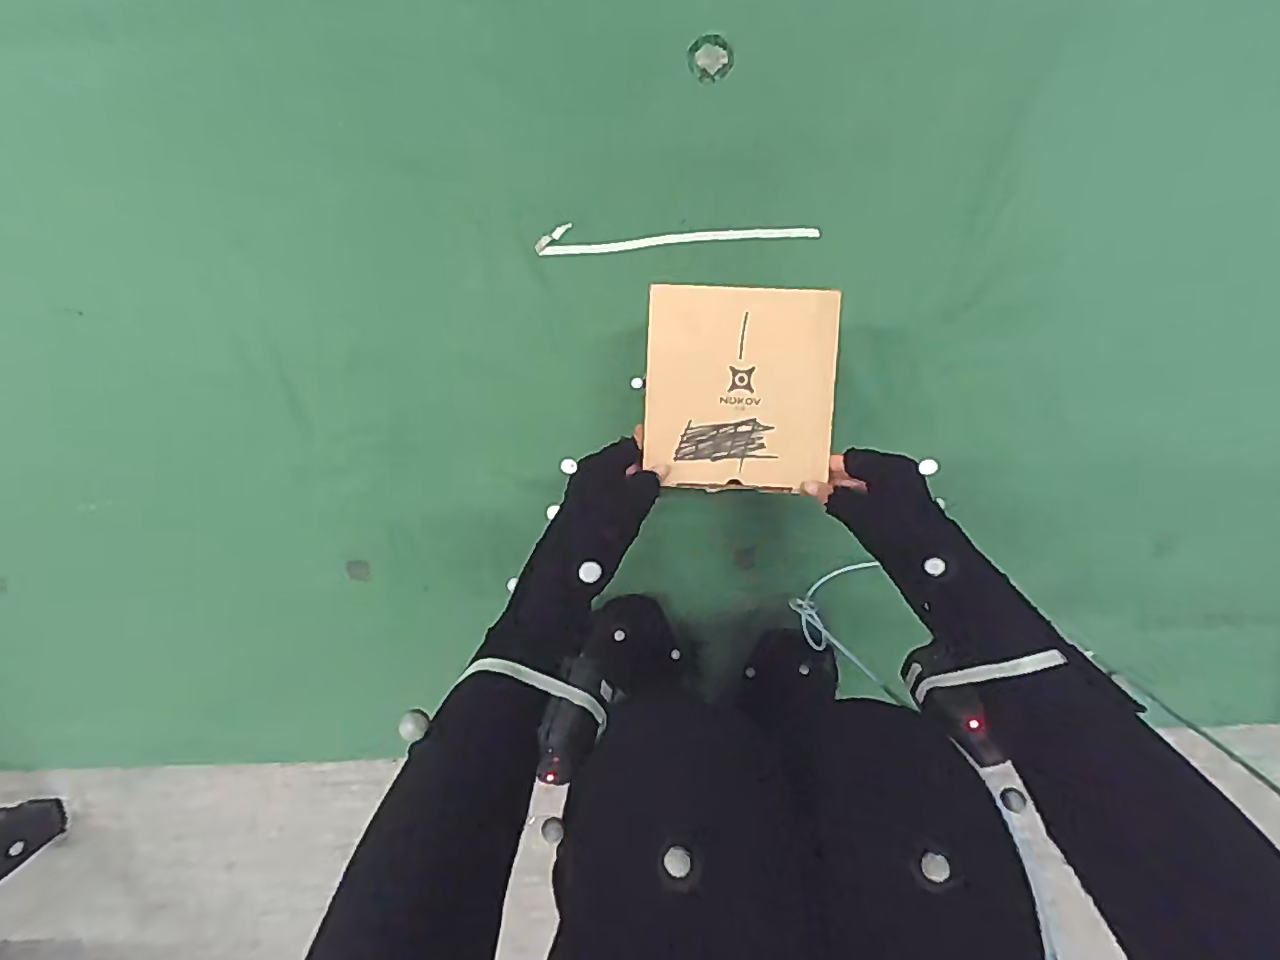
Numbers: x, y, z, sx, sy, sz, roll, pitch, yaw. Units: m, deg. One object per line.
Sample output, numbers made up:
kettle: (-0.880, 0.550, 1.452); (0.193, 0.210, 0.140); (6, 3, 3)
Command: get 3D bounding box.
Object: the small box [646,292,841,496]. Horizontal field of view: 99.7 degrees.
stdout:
small box: (0.090, -0.081, 0.546); (0.168, 0.176, 0.179); (0, 95, 1)
